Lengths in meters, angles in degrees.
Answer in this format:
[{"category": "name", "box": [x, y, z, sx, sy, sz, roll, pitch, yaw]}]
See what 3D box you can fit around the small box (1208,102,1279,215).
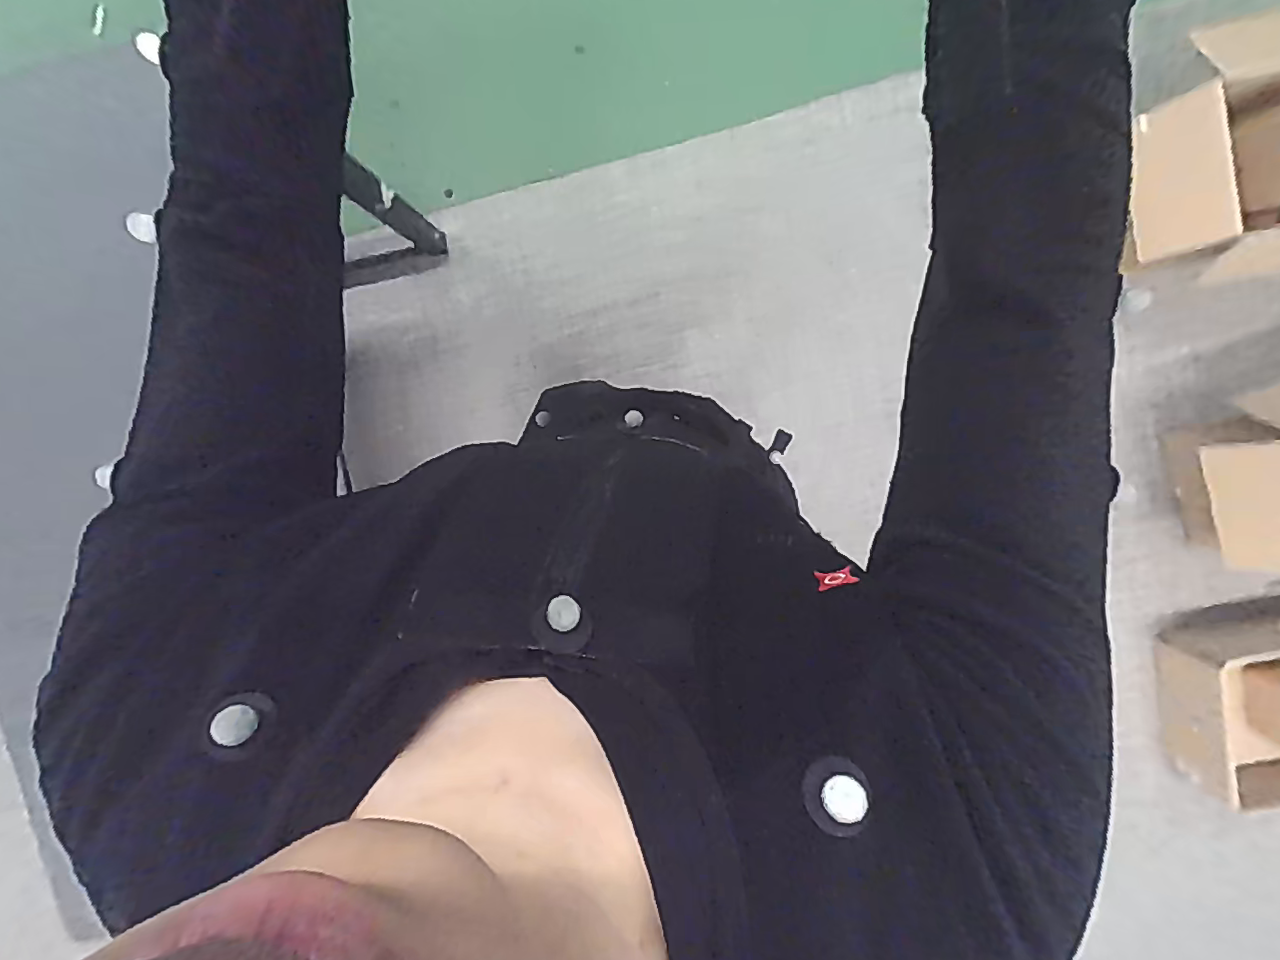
[{"category": "small box", "box": [1.321, -0.660, 1.098, 0.168, 0.176, 0.179, -10, 96, 2]}]
